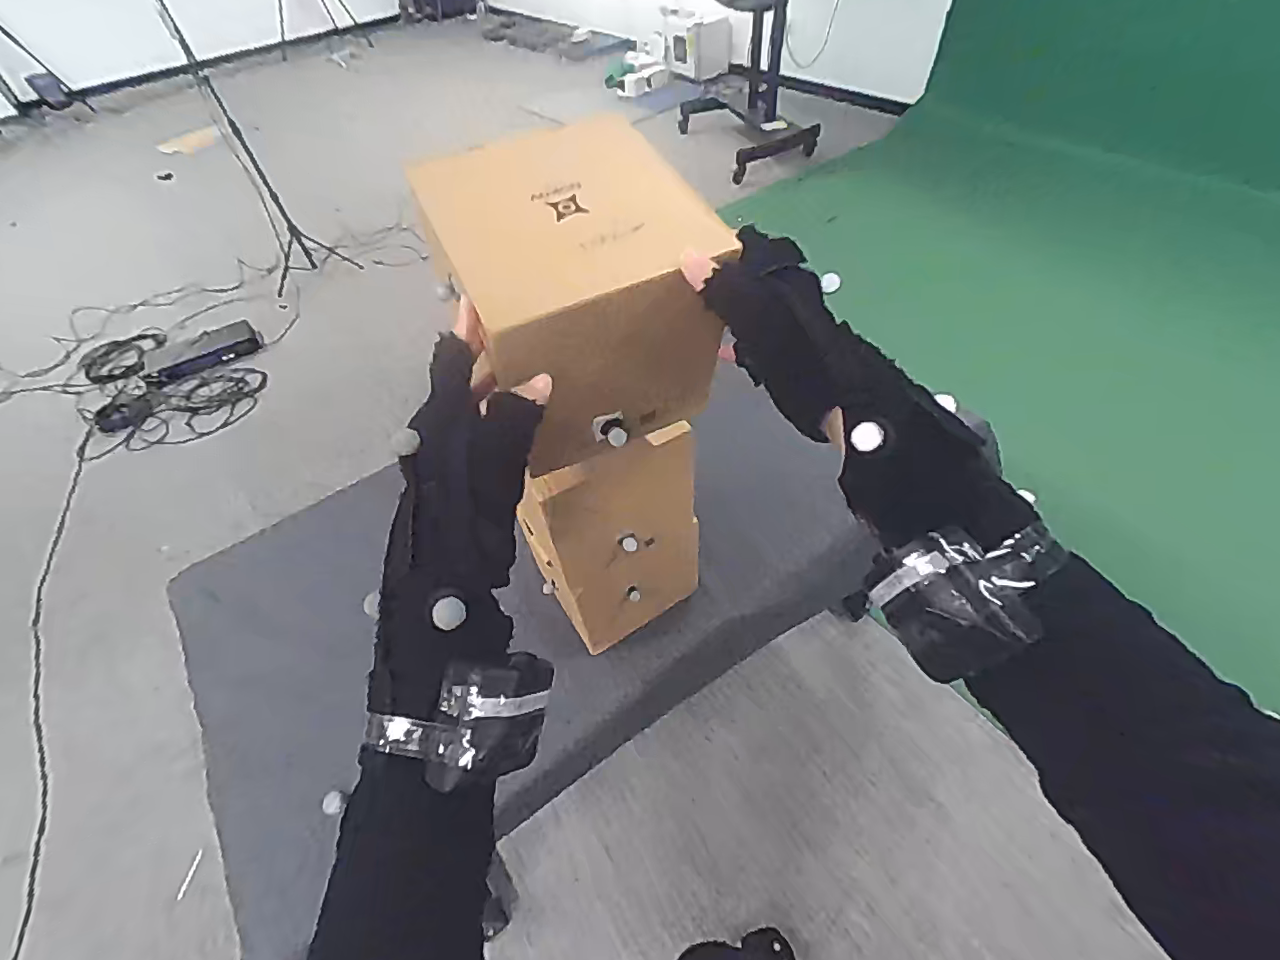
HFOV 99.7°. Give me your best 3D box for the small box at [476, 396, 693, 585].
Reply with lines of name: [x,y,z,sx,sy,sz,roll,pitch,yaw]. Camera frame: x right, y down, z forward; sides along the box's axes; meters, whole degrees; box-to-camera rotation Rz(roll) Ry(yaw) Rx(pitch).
small box: [-0.056,-0.017,0.606,0.168,0.176,0.179,-29,51,-17]

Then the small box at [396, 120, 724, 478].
small box: [-0.058,-0.133,0.417,0.168,0.176,0.179,-24,62,-13]

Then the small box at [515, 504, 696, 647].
small box: [-0.038,0.092,0.728,0.179,0.176,0.168,-30,53,-16]
